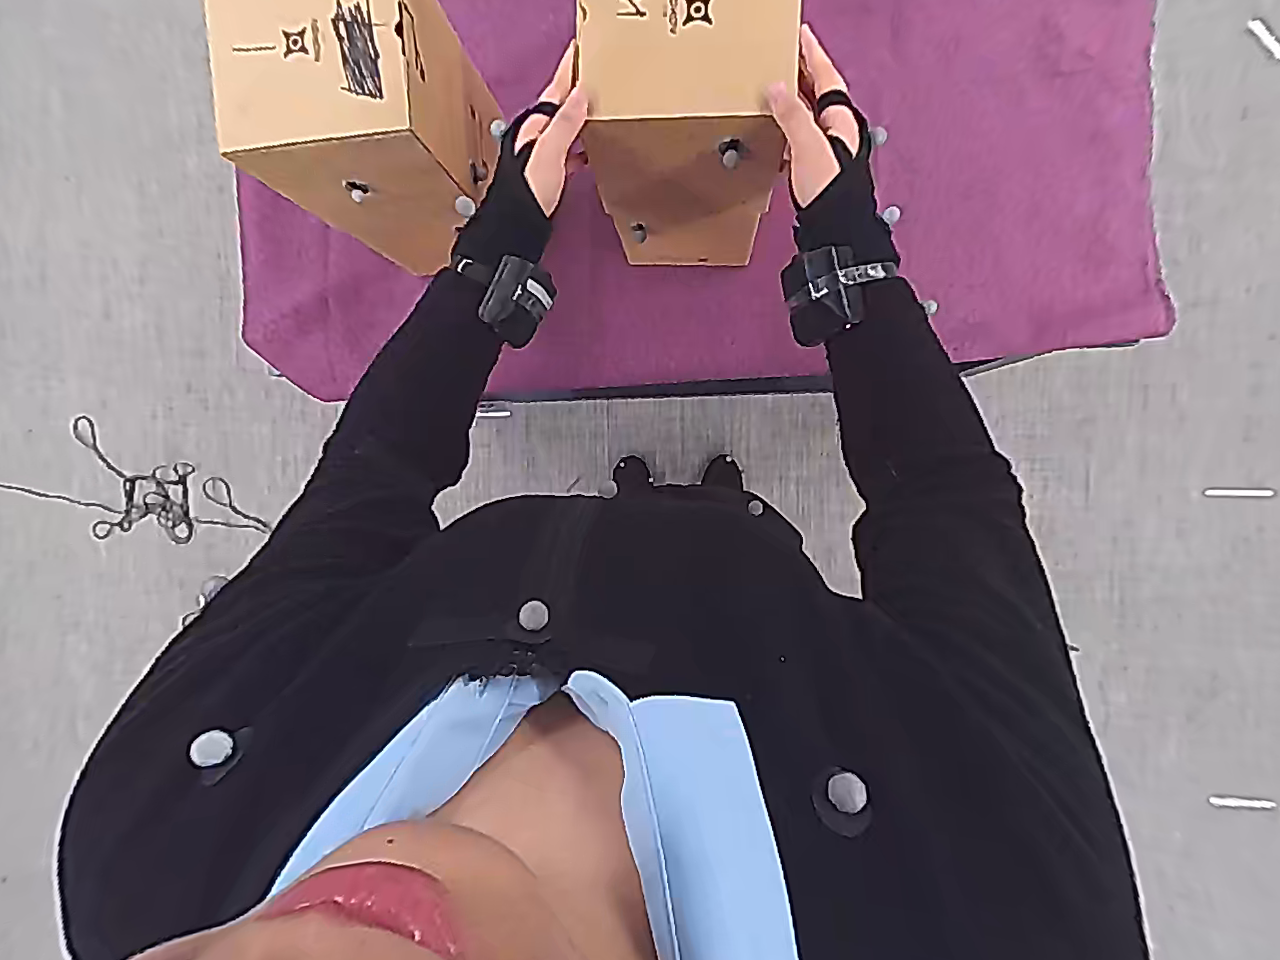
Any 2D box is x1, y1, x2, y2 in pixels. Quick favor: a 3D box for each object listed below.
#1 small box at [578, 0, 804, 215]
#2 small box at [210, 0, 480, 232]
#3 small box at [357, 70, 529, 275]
[{"bbox_3d":[0.047,-0.365,0.502,0.179,0.176,0.168,2,92,6],"label":"small box"},{"bbox_3d":[-0.269,-0.366,0.533,0.179,0.176,0.168,-4,92,6],"label":"small box"},{"bbox_3d":[-0.256,-0.377,0.697,0.179,0.176,0.168,-4,92,5],"label":"small box"}]
